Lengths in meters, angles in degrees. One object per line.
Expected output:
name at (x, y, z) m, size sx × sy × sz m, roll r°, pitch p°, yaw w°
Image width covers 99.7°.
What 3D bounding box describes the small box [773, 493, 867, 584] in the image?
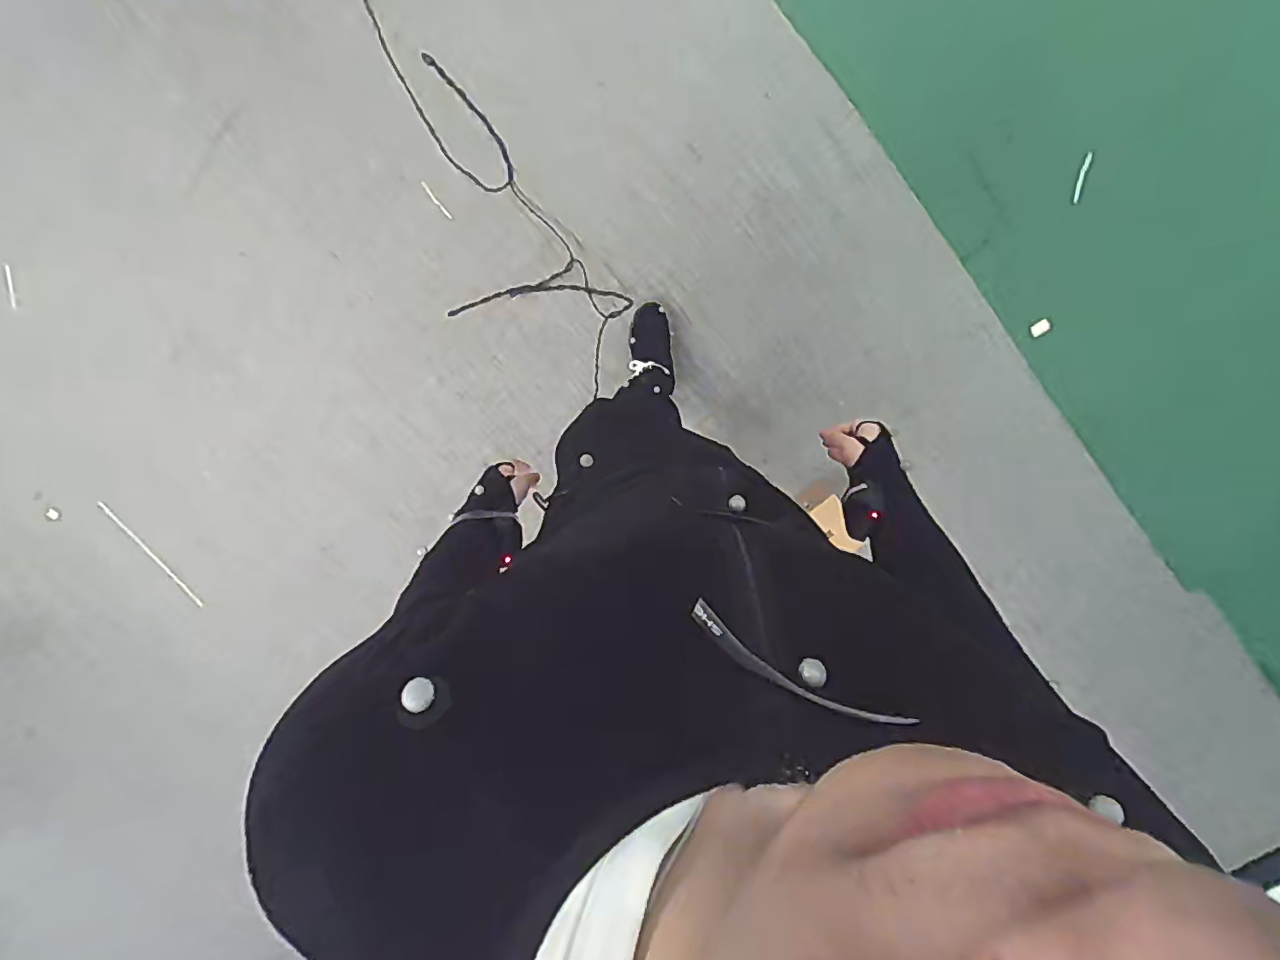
small box at (0.501, 0.158, 1.533) m, size 0.179 × 0.176 × 0.168 m, roll -39°, pitch 95°, yaw 10°
